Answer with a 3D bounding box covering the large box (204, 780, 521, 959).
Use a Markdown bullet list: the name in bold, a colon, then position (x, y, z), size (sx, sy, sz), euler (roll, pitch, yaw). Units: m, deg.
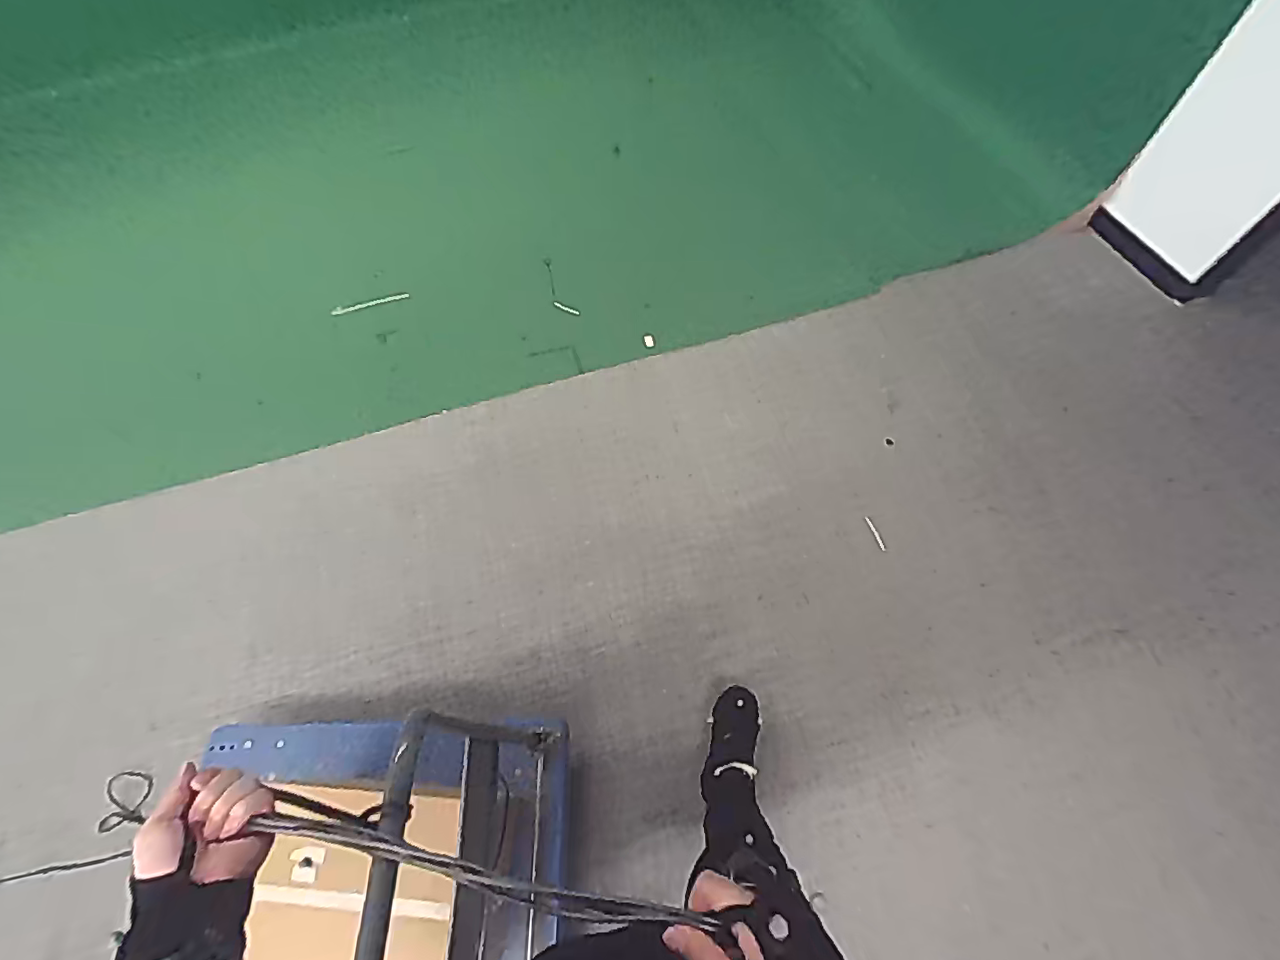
- **large box**: position (-0.472, 0.751, 1.005), size (0.408, 0.320, 0.320), euler (2, 62, 6)
